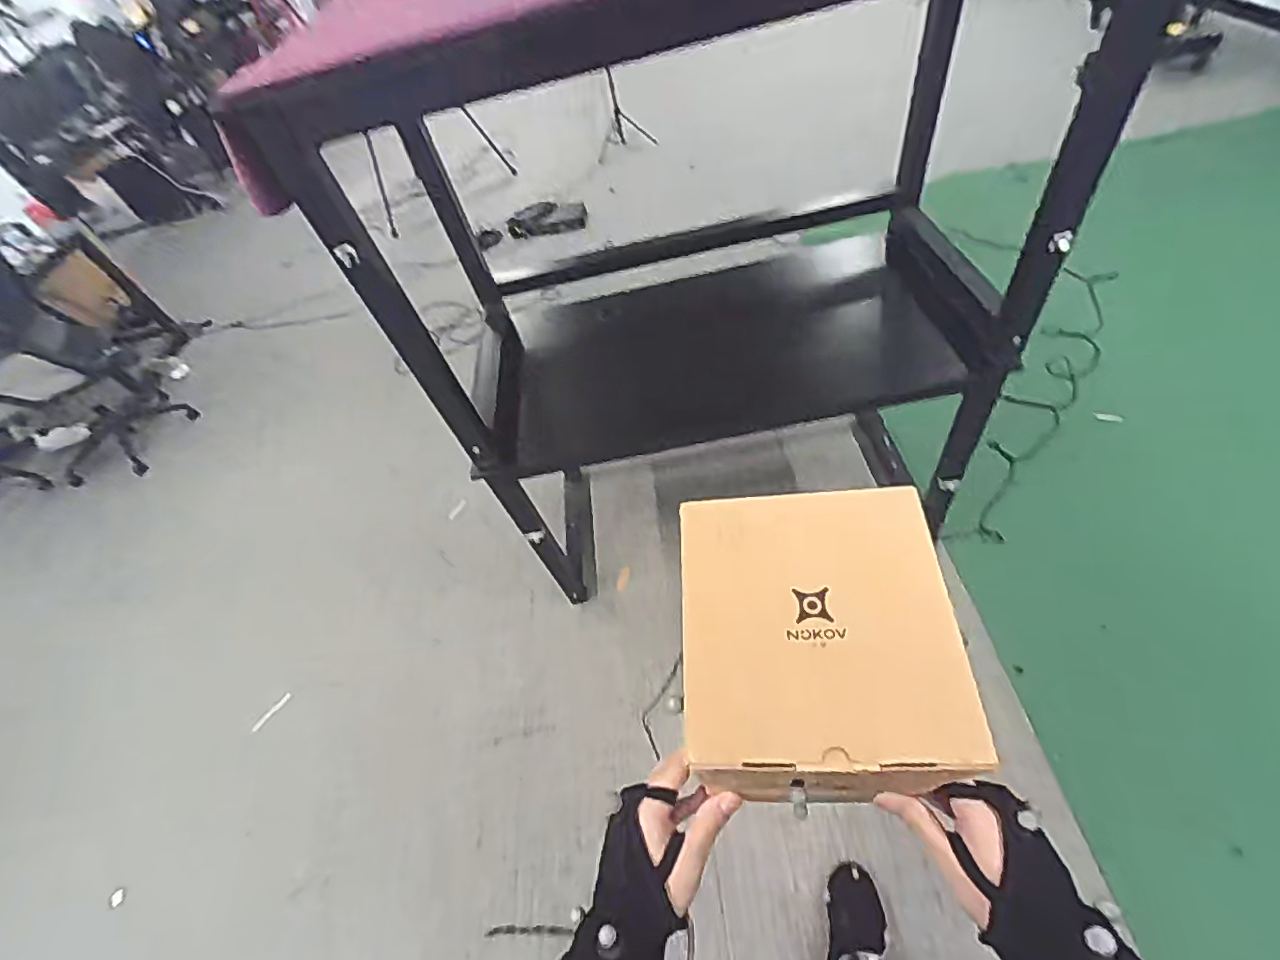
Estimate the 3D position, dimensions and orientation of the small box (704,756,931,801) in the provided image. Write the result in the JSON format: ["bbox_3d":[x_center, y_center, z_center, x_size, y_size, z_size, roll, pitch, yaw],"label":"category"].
[{"bbox_3d":[0.153,0.216,0.534,0.179,0.176,0.168,-5,56,9],"label":"small box"}]

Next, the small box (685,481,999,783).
[{"bbox_3d":[0.122,0.121,0.406,0.168,0.176,0.179,-5,57,8],"label":"small box"}]
